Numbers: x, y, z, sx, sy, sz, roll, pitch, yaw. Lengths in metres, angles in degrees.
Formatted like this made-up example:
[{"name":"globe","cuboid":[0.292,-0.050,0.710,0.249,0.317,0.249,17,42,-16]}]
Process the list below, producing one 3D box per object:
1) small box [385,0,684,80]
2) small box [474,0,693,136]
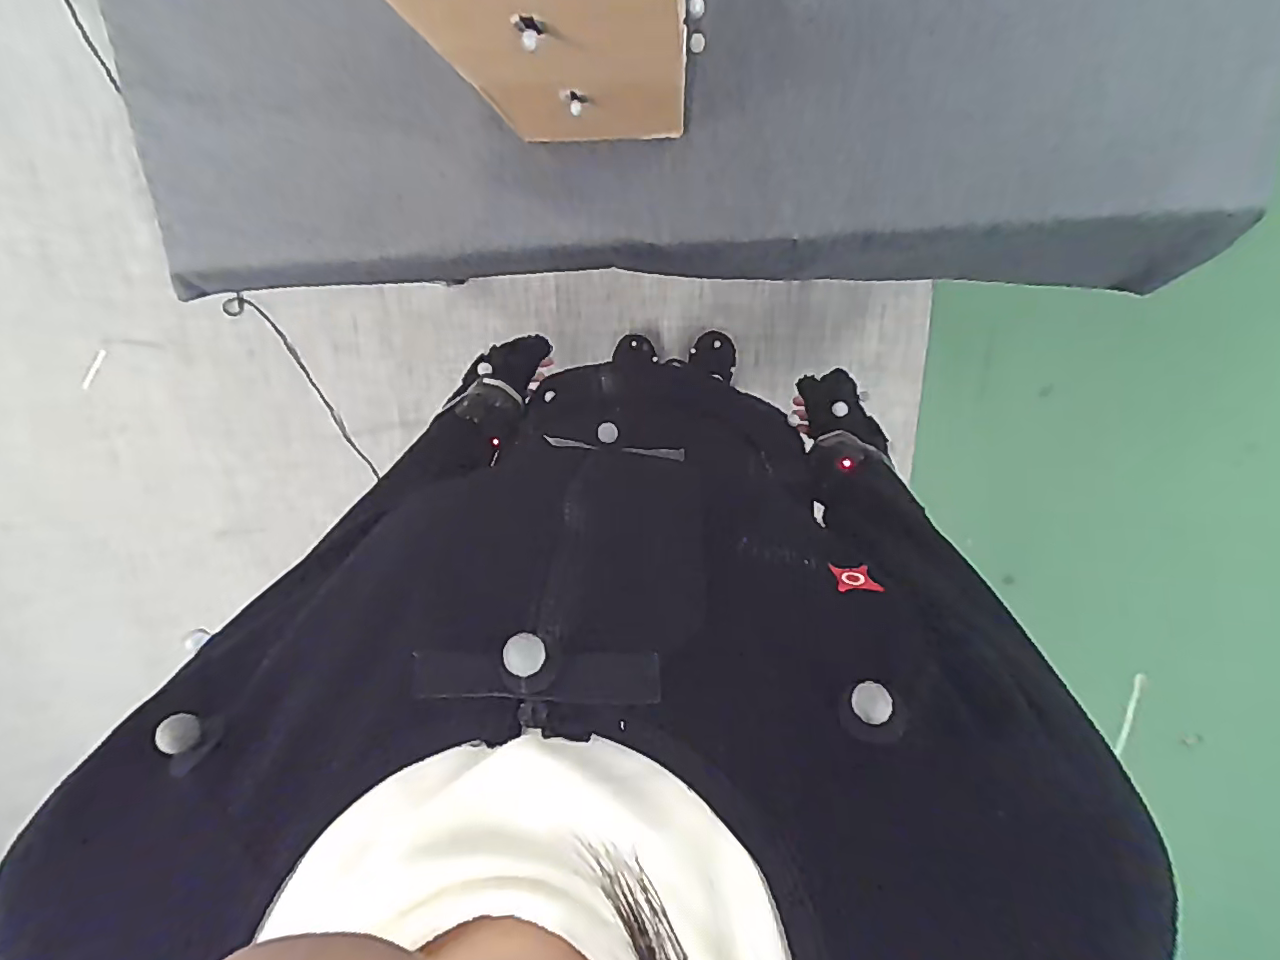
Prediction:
[{"name":"small box","cuboid":[-0.061,-0.372,0.328,0.179,0.176,0.168,2,108,8]},{"name":"small box","cuboid":[-0.043,-0.425,0.483,0.179,0.176,0.168,1,108,6]}]
